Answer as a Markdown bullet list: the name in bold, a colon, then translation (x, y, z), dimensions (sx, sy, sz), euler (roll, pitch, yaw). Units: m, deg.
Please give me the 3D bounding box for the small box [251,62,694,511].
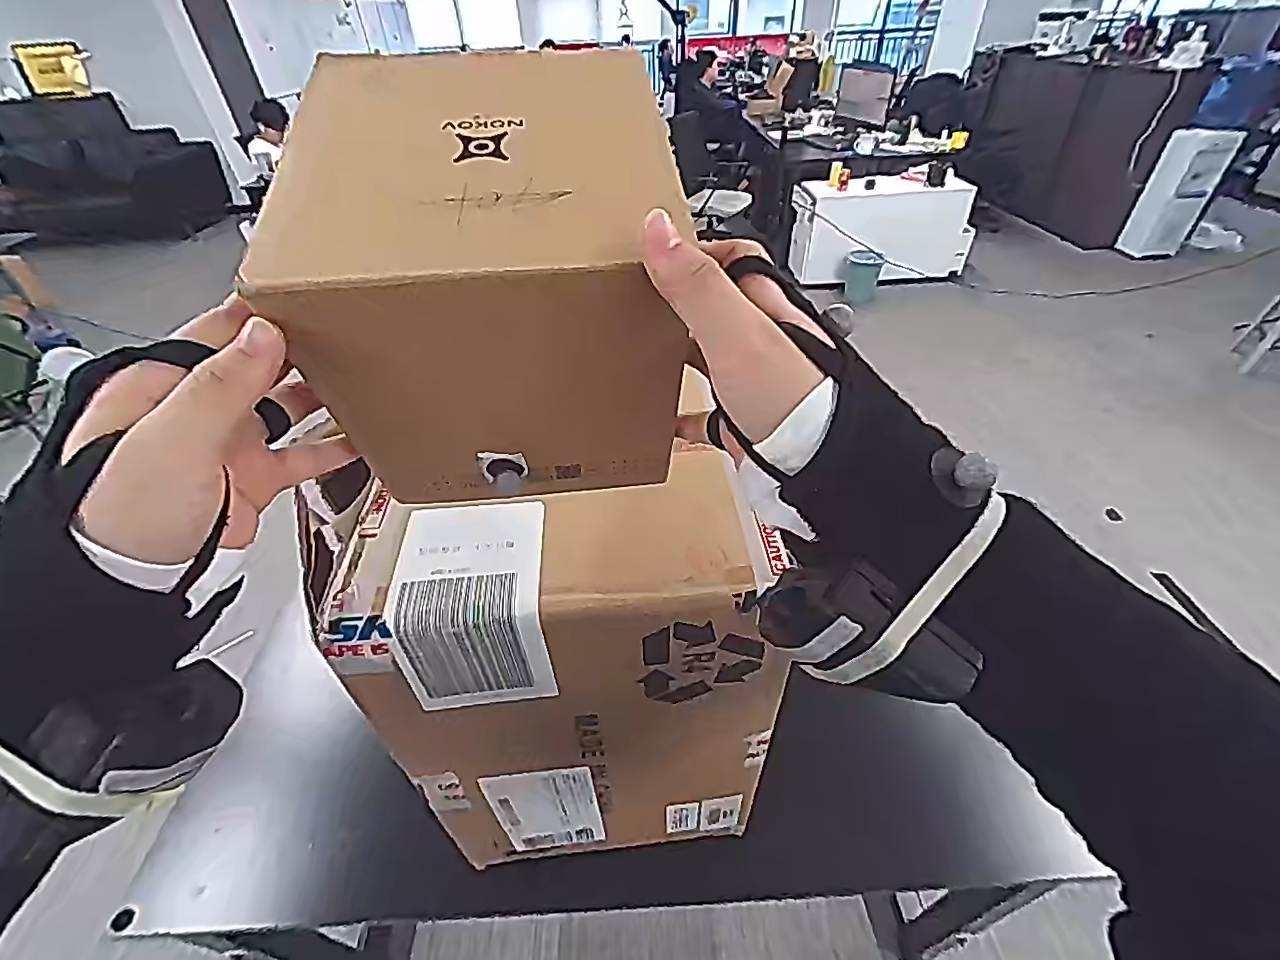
- **small box**: translation (-0.073, -0.102, 0.311), dimensions (0.168, 0.176, 0.179), euler (-7, 60, -5)
